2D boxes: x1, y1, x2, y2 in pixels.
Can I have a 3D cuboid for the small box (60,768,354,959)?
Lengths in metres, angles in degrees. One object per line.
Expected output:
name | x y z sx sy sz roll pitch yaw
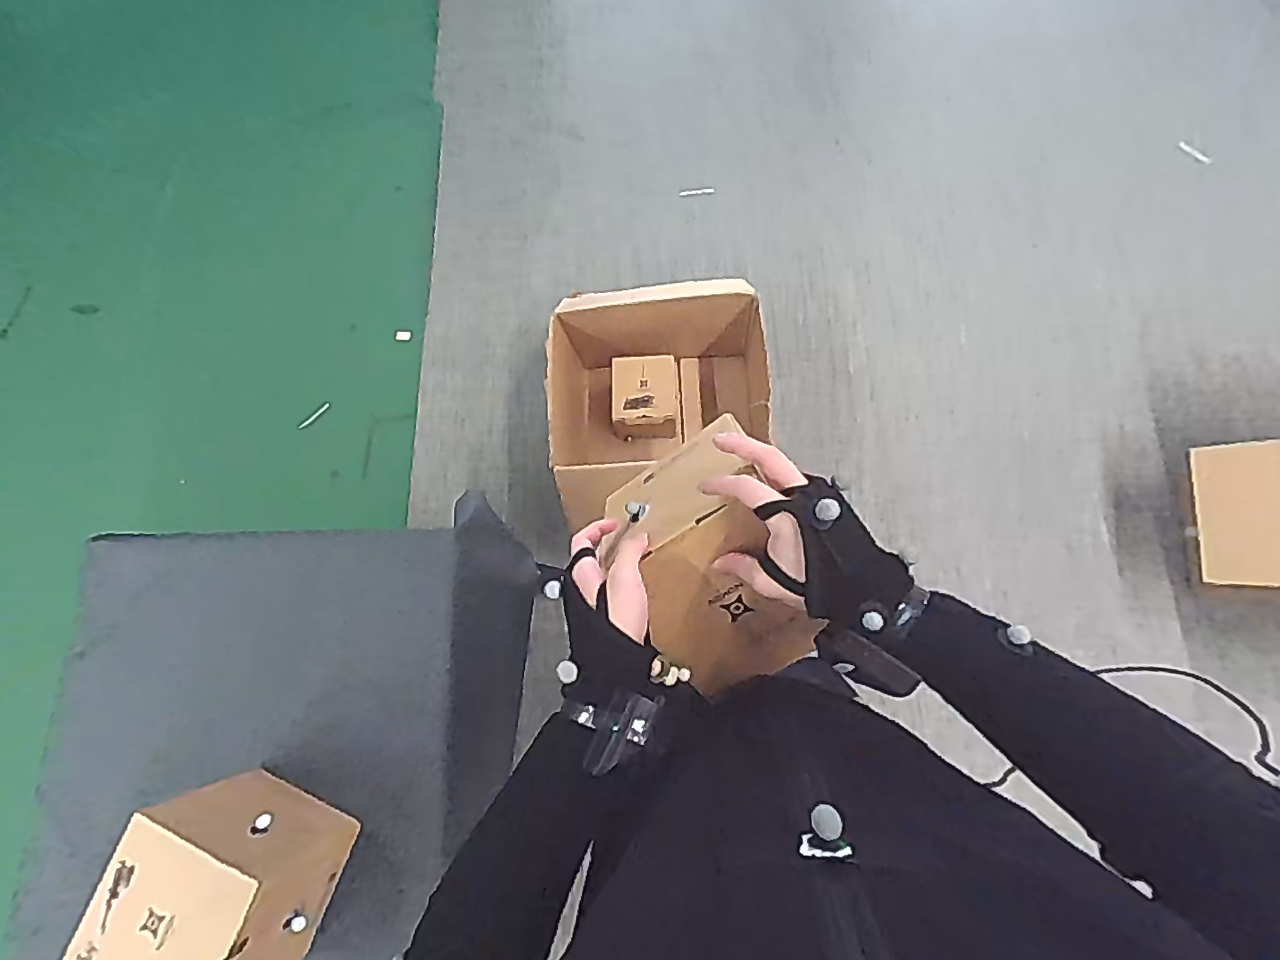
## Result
small box | -0.482 0.469 0.634 0.179 0.176 0.168 19 79 11

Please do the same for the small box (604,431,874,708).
small box | 0.083 0.072 0.524 0.168 0.176 0.179 -36 111 16
